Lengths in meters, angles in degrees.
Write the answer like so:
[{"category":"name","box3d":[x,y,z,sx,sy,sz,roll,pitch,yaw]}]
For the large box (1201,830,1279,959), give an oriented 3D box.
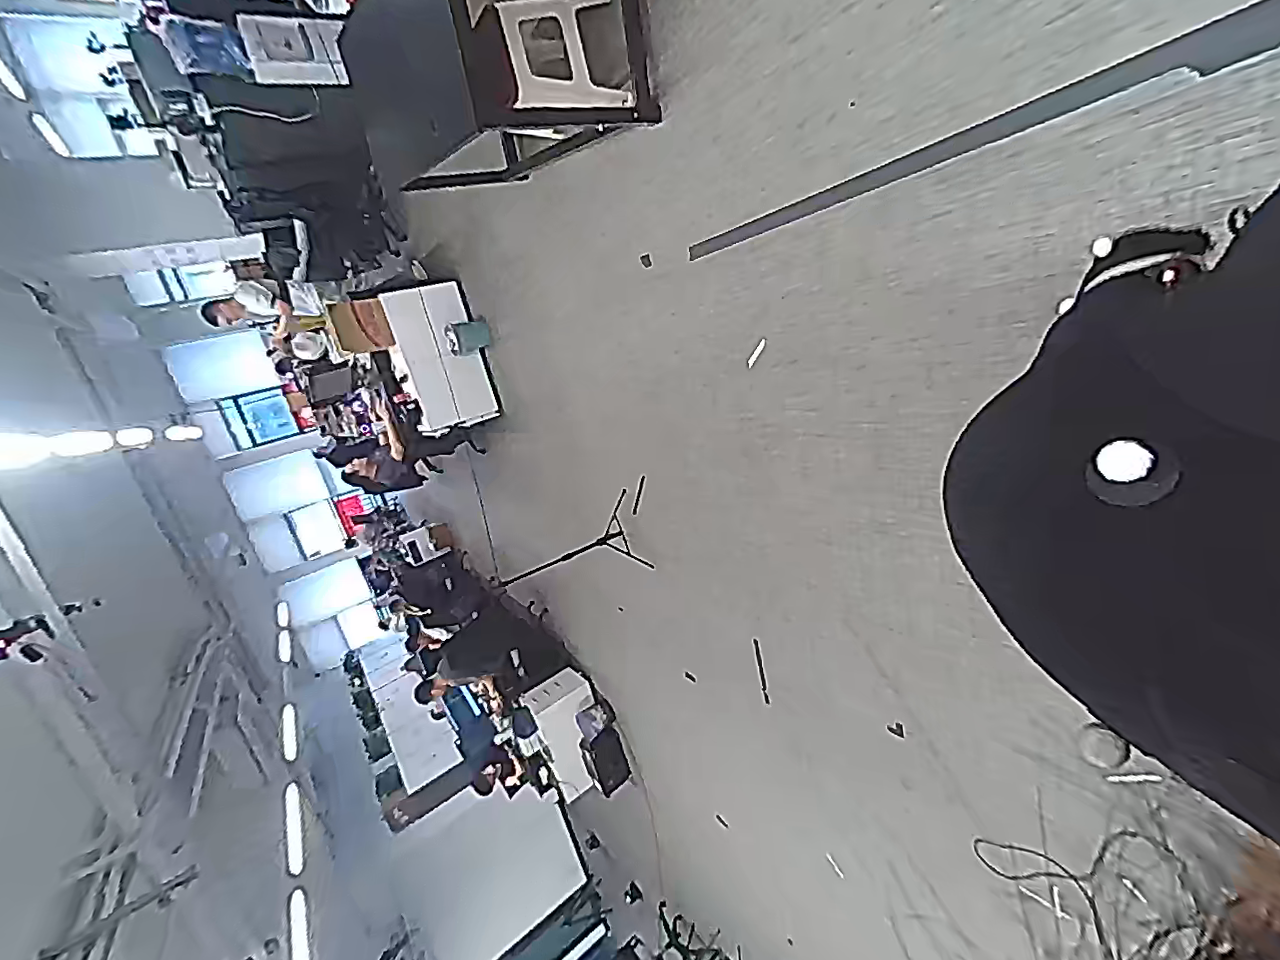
[{"category":"large box","box3d":[1.516,1.076,1.147,0.408,0.320,0.320,18,126,50]}]
